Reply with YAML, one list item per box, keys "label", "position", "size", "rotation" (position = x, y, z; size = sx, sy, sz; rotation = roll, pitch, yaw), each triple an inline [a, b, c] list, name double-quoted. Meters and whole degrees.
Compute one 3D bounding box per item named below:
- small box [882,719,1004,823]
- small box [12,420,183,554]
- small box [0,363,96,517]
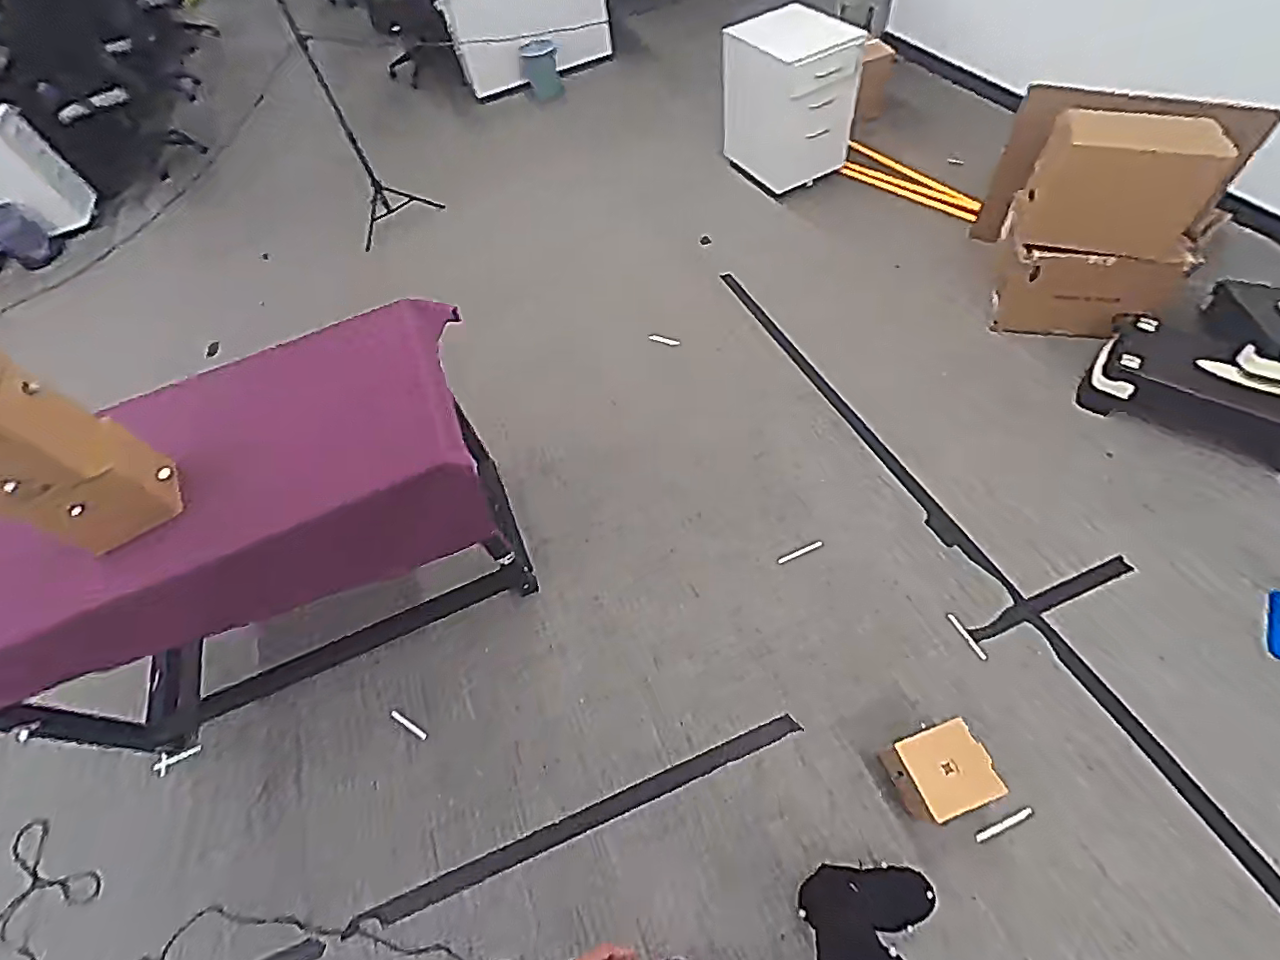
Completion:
- label: "small box"
  position: [0.693, 0.687, 1.268]
  size: [0.179, 0.176, 0.168]
  rotation: [-20, 57, -5]
- label: "small box"
  position: [-1.081, 0.019, 1.089]
  size: [0.179, 0.176, 0.168]
  rotation: [-32, 58, -13]
- label: "small box"
  position: [-1.124, -0.067, 0.954]
  size: [0.168, 0.176, 0.179]
  rotation: [-28, 57, -9]
